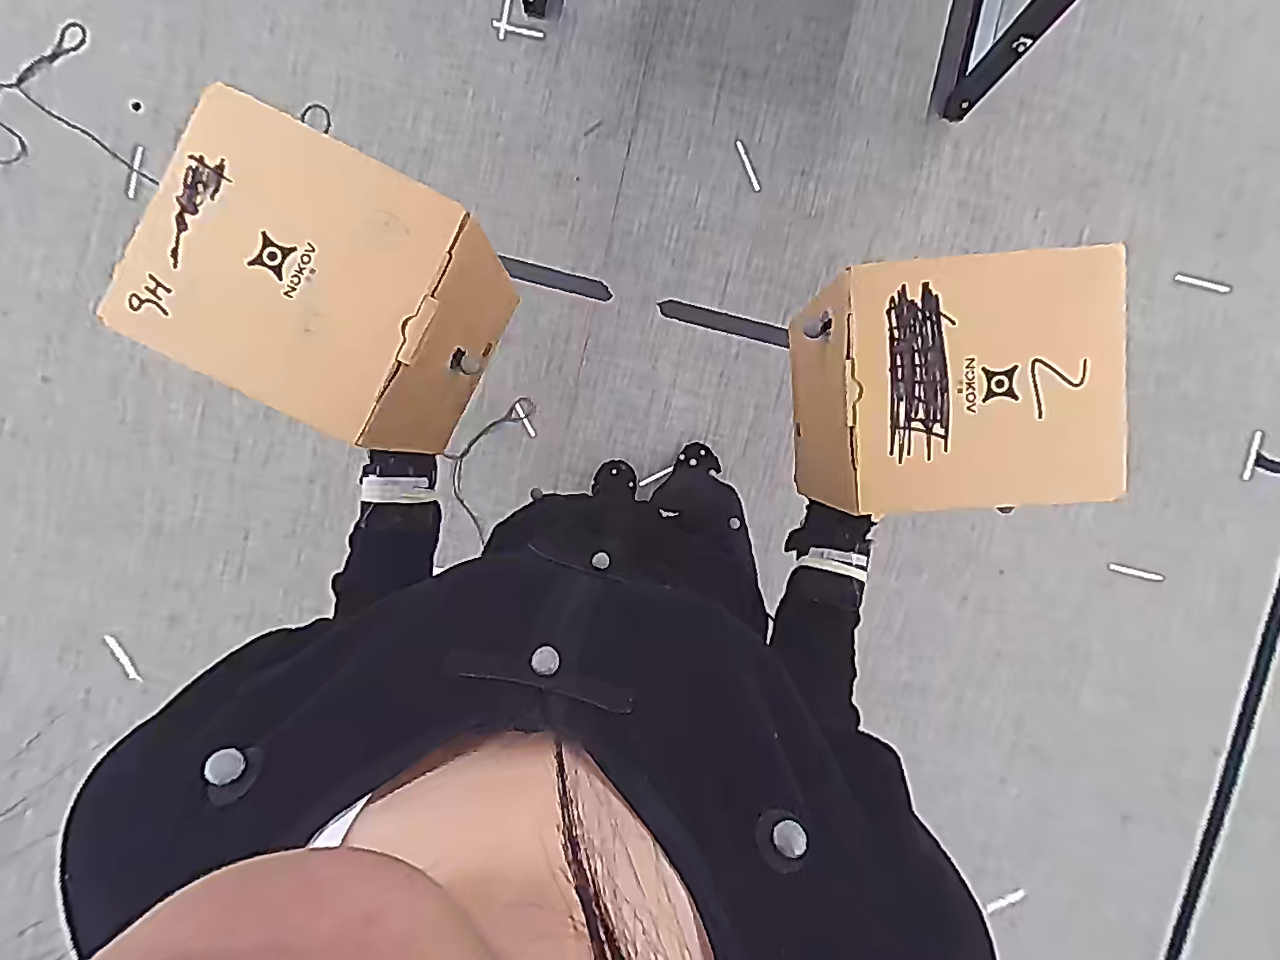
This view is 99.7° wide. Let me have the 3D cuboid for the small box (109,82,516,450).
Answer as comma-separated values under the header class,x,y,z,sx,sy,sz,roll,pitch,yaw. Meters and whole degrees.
class,x,y,z,sx,sy,sz,roll,pitch,yaw
small box,-0.213,-0.134,0.411,0.179,0.176,0.168,27,90,-4
